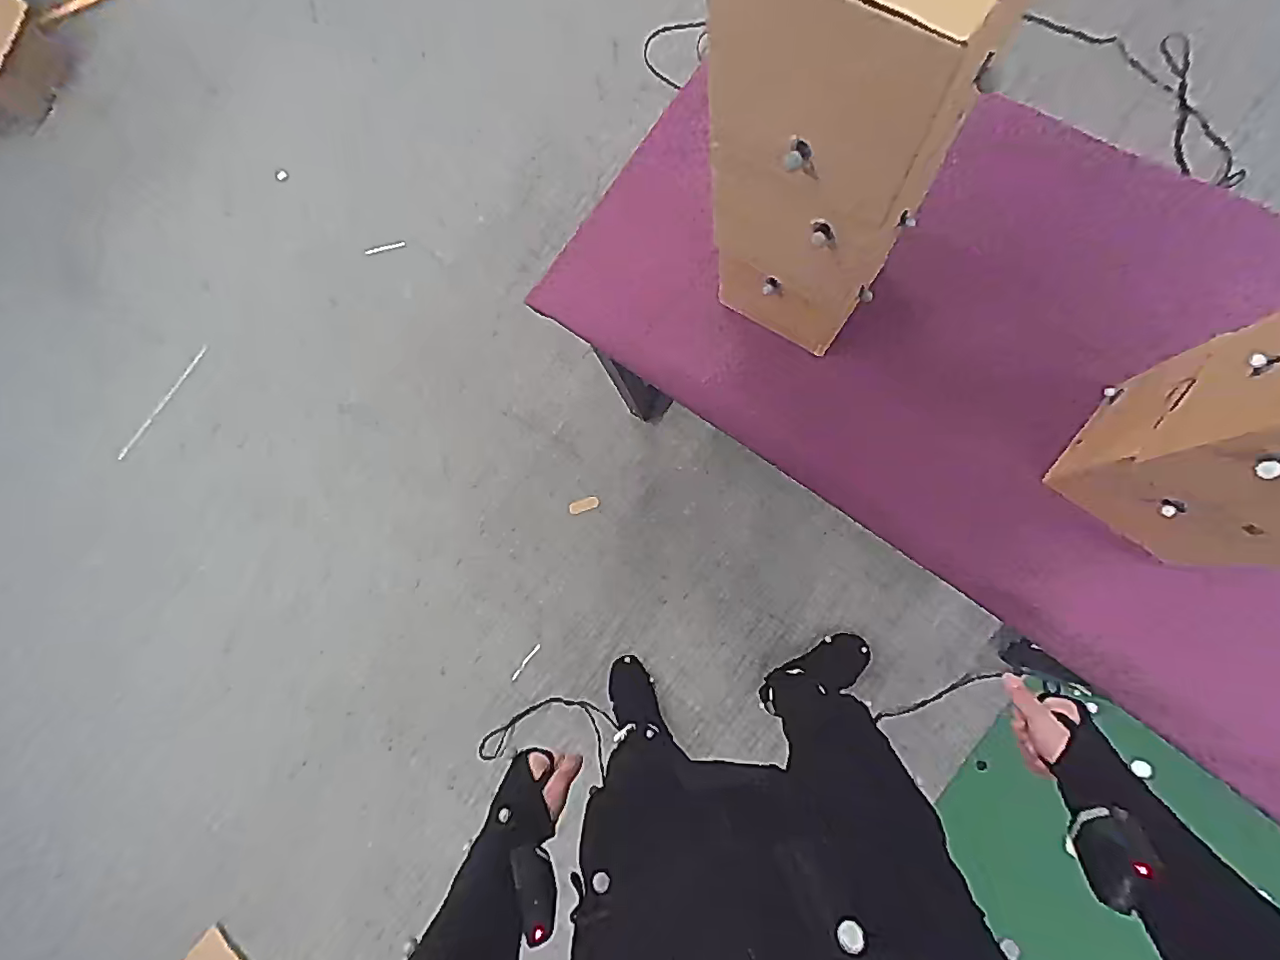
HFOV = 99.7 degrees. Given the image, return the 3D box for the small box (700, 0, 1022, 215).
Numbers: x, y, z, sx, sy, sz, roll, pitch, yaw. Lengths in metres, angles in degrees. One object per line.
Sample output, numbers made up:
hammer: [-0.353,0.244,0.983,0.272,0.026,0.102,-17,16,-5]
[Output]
small box: [0.163,-0.333,0.397,0.179,0.176,0.168,35,88,12]

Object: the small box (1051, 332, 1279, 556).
small box: [0.625,-0.025,0.607,0.179,0.176,0.168,38,89,13]

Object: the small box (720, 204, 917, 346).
small box: [0.225,-0.301,0.719,0.179,0.176,0.168,34,88,13]

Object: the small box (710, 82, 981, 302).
small box: [0.191,-0.312,0.556,0.179,0.176,0.168,35,88,13]
